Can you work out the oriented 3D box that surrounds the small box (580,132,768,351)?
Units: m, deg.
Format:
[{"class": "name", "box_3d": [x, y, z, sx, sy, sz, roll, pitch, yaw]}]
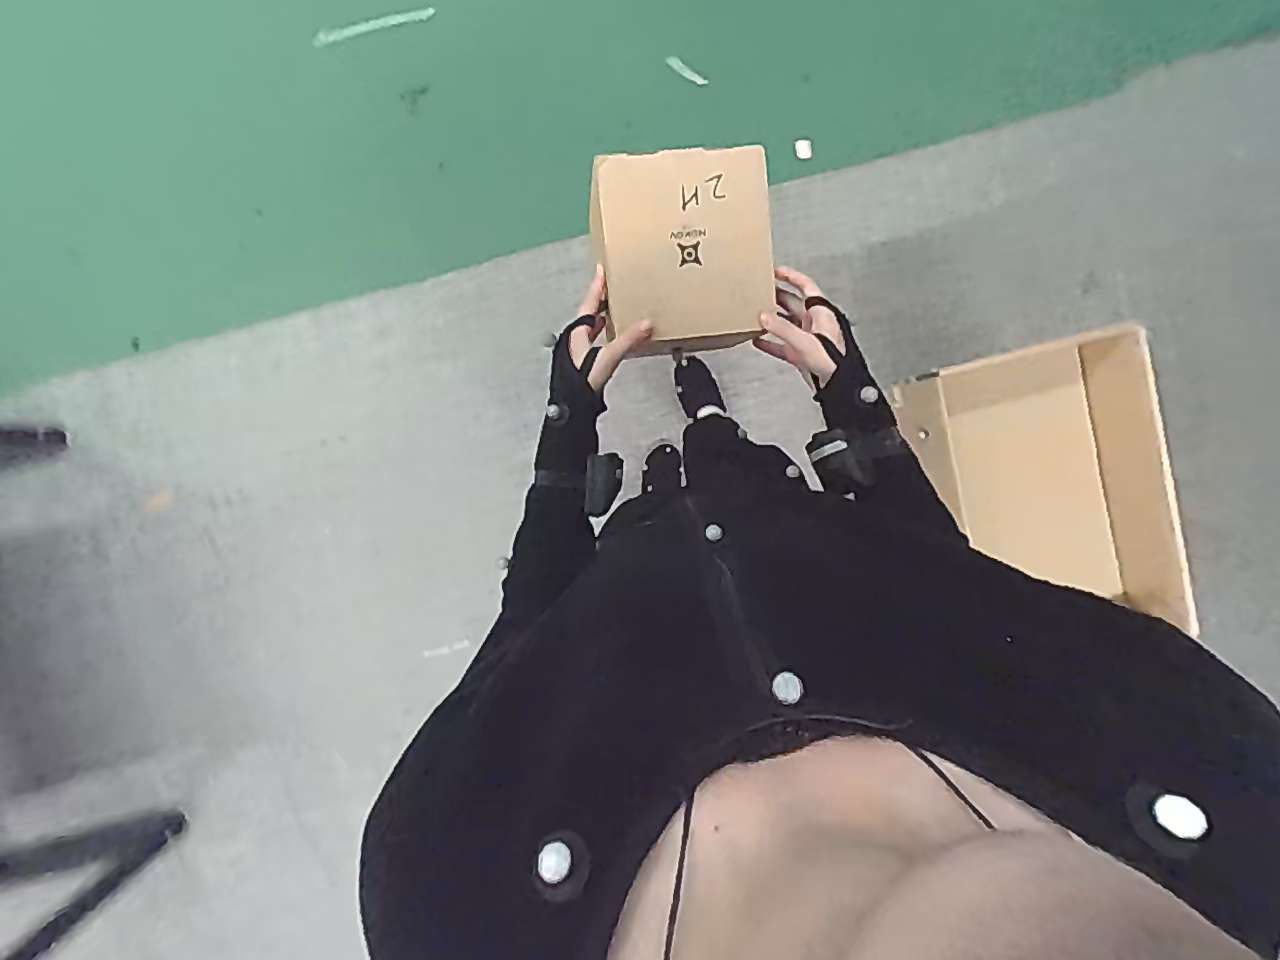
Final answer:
[{"class": "small box", "box_3d": [0.028, -0.240, 0.589, 0.168, 0.176, 0.179, -8, 97, -5]}]
